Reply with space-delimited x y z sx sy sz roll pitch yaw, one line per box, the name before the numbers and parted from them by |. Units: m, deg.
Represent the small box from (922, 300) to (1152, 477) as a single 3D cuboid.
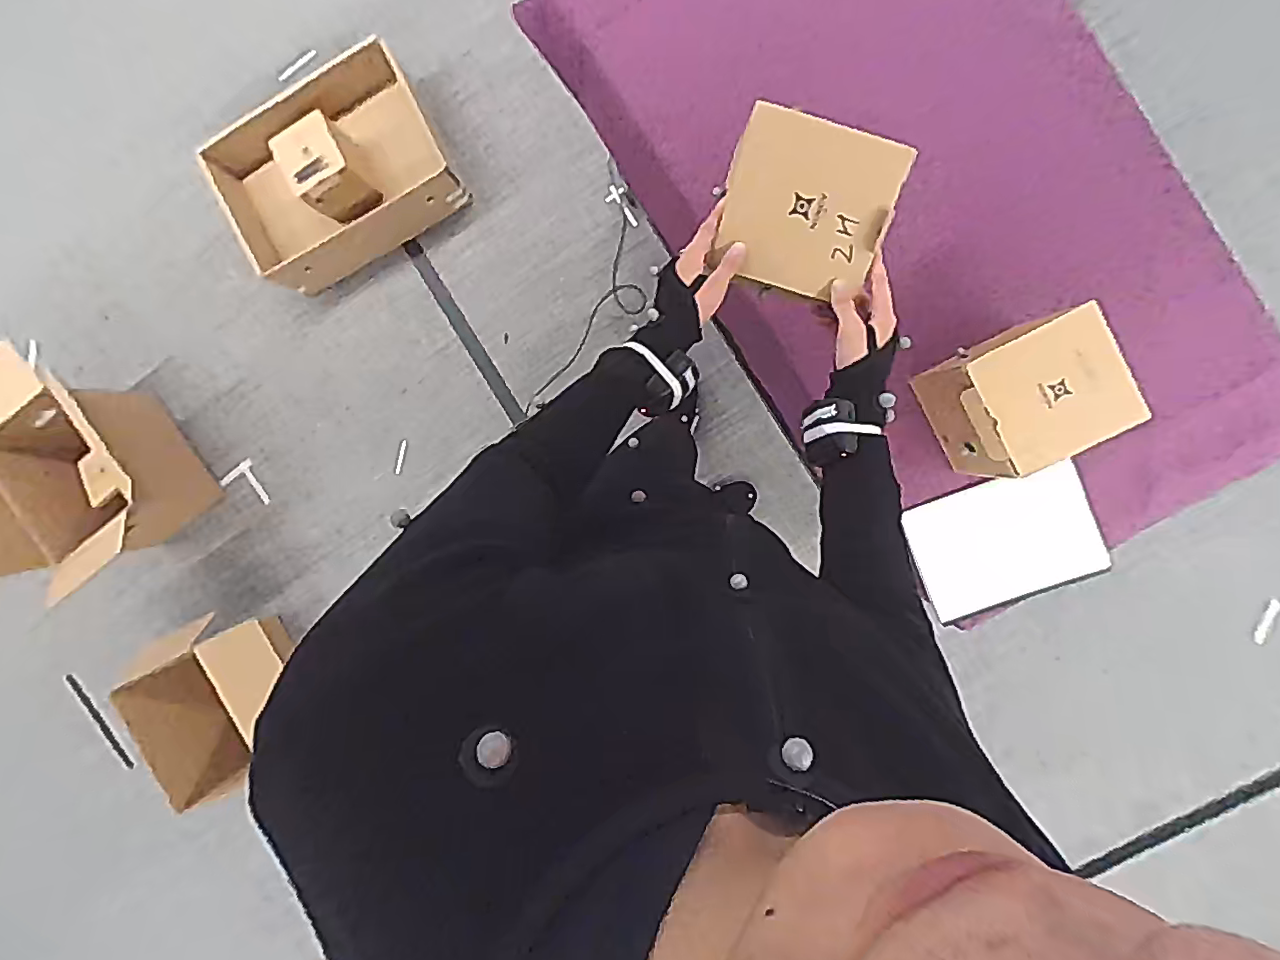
small box | 0.523 -0.116 0.749 0.179 0.176 0.168 -27 92 6
